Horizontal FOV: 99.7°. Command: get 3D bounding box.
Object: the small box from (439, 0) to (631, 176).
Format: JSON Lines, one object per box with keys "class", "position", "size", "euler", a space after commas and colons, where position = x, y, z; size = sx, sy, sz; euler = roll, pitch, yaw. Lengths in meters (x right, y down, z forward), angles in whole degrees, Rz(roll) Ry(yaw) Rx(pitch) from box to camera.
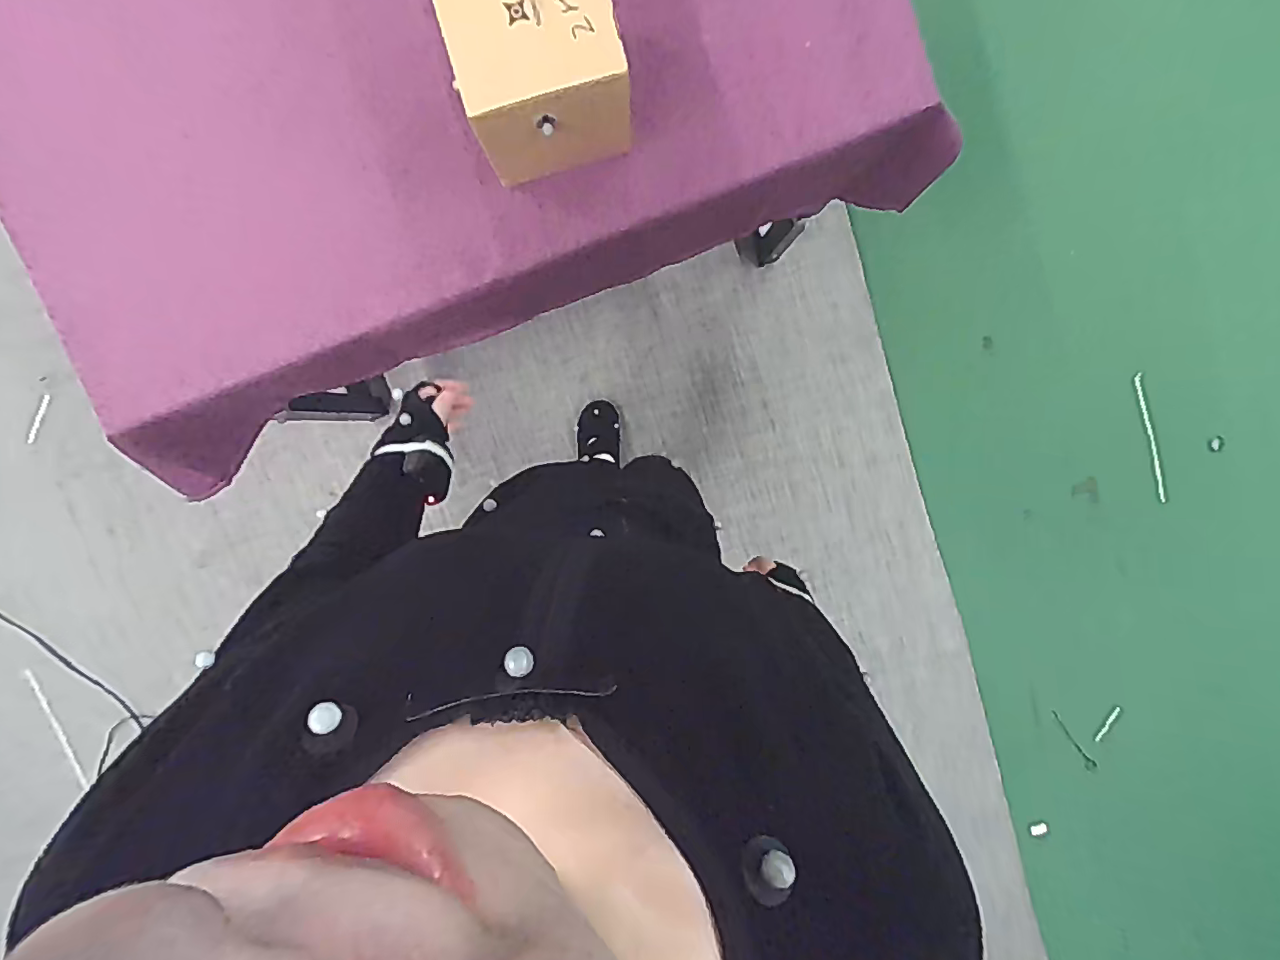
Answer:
{"class": "small box", "position": [-0.113, -0.489, 0.631], "size": [0.179, 0.176, 0.168], "euler": [-15, 96, 1]}
